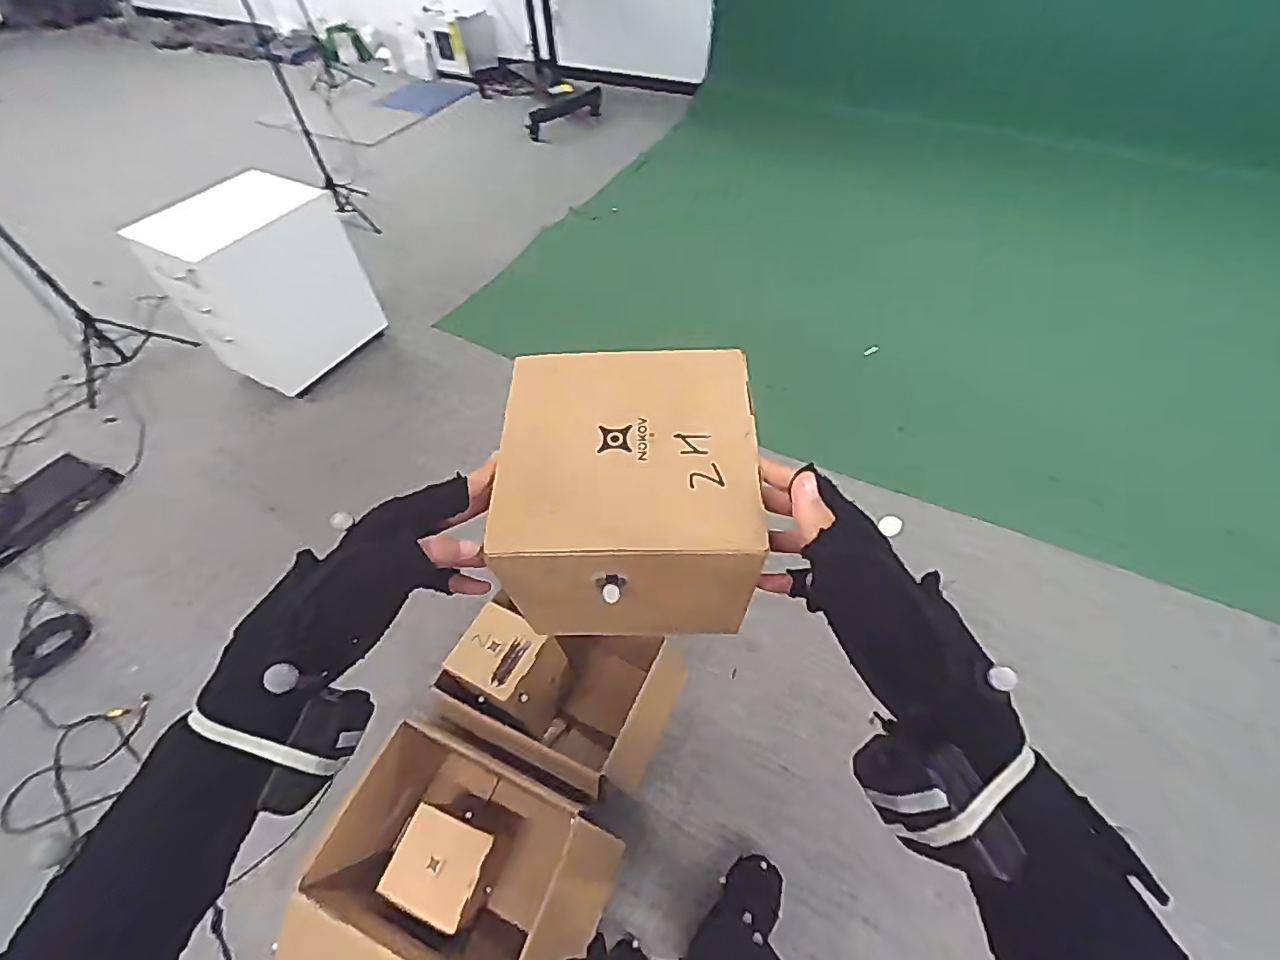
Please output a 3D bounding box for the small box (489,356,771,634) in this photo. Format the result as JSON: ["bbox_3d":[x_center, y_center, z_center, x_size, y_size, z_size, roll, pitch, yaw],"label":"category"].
[{"bbox_3d":[-0.001,0.020,0.436,0.179,0.176,0.168,0,58,2],"label":"small box"}]
